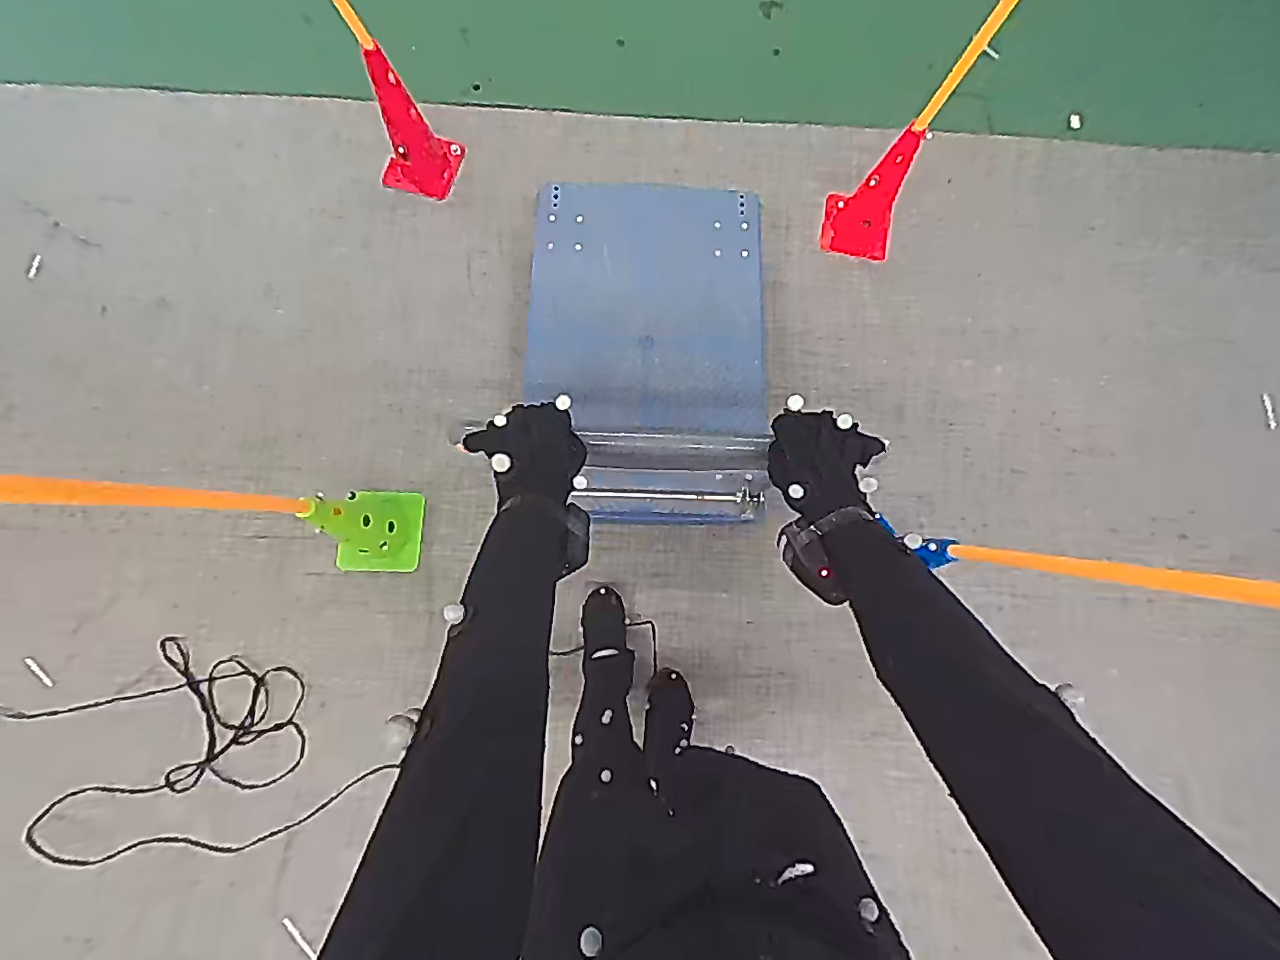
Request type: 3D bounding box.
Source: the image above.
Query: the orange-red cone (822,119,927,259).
[{"bbox_3d":[0.651,-0.790,1.433,0.198,0.360,0.199,13,78,2],"label":"orange-red cone"}]
